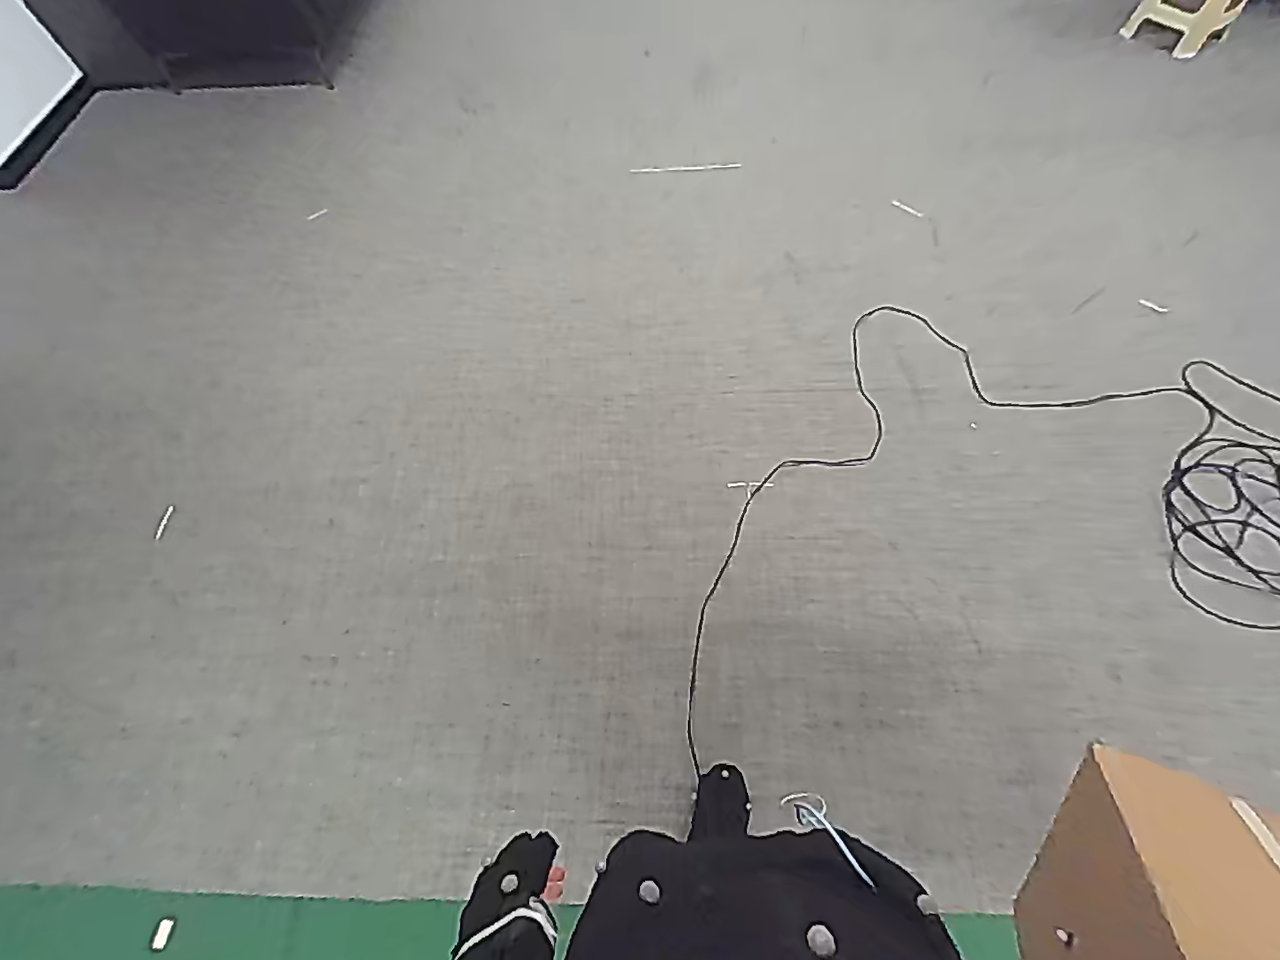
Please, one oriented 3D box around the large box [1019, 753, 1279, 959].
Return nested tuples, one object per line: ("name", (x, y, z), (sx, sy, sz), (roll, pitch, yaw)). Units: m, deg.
("large box", (0.659, 0.603, 0.581), (0.320, 0.408, 0.320), (20, 105, 26))
